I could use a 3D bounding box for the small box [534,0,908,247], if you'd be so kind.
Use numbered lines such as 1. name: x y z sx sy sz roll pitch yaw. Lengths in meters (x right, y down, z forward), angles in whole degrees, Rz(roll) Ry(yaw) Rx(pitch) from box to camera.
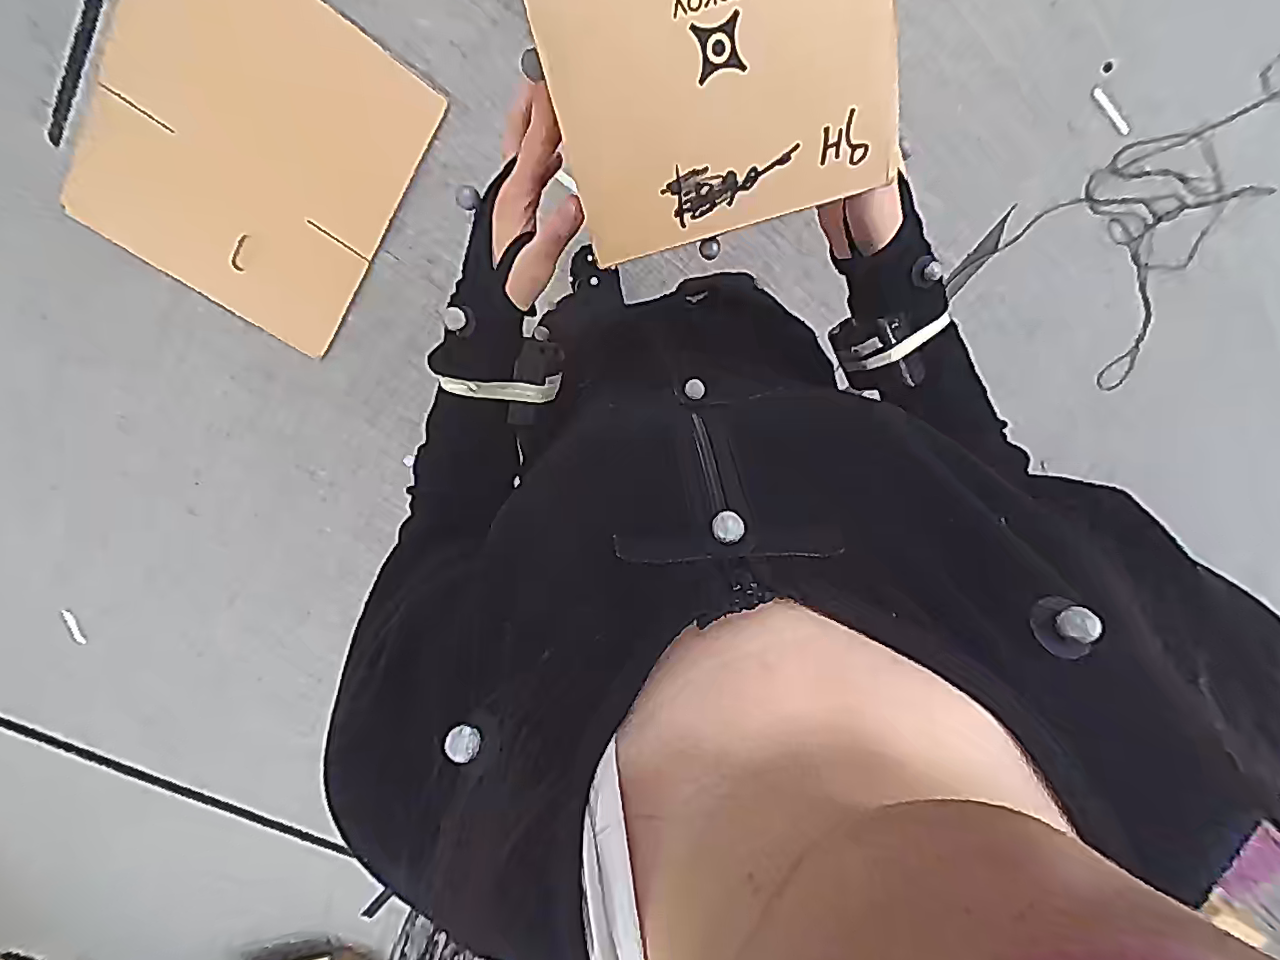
1. small box: 0.031 -0.252 0.309 0.168 0.176 0.179 -15 120 5

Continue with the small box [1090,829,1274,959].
1. small box: 1.086 0.854 1.100 0.179 0.176 0.168 33 107 -16
